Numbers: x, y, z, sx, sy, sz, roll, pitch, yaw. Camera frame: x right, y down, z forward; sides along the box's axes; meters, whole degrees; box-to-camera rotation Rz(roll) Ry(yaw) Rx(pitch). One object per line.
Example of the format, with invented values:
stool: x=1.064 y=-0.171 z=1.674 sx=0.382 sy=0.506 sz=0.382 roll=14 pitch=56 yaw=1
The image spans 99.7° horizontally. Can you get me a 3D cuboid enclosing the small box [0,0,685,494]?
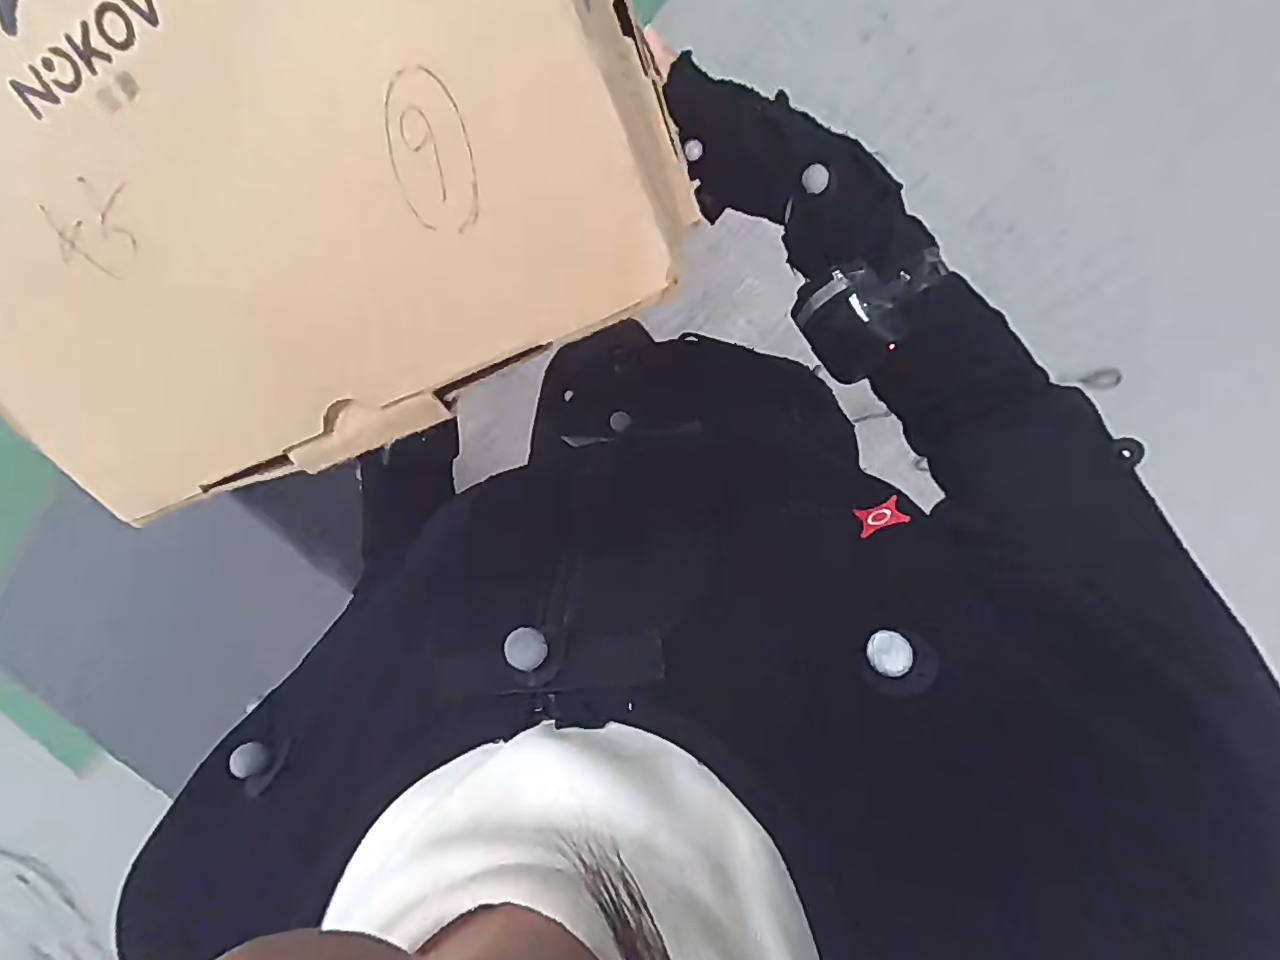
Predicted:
small box: x=-0.090 y=-0.128 z=0.159 sx=0.168 sy=0.176 sz=0.179 roll=-18 pitch=118 yaw=17
